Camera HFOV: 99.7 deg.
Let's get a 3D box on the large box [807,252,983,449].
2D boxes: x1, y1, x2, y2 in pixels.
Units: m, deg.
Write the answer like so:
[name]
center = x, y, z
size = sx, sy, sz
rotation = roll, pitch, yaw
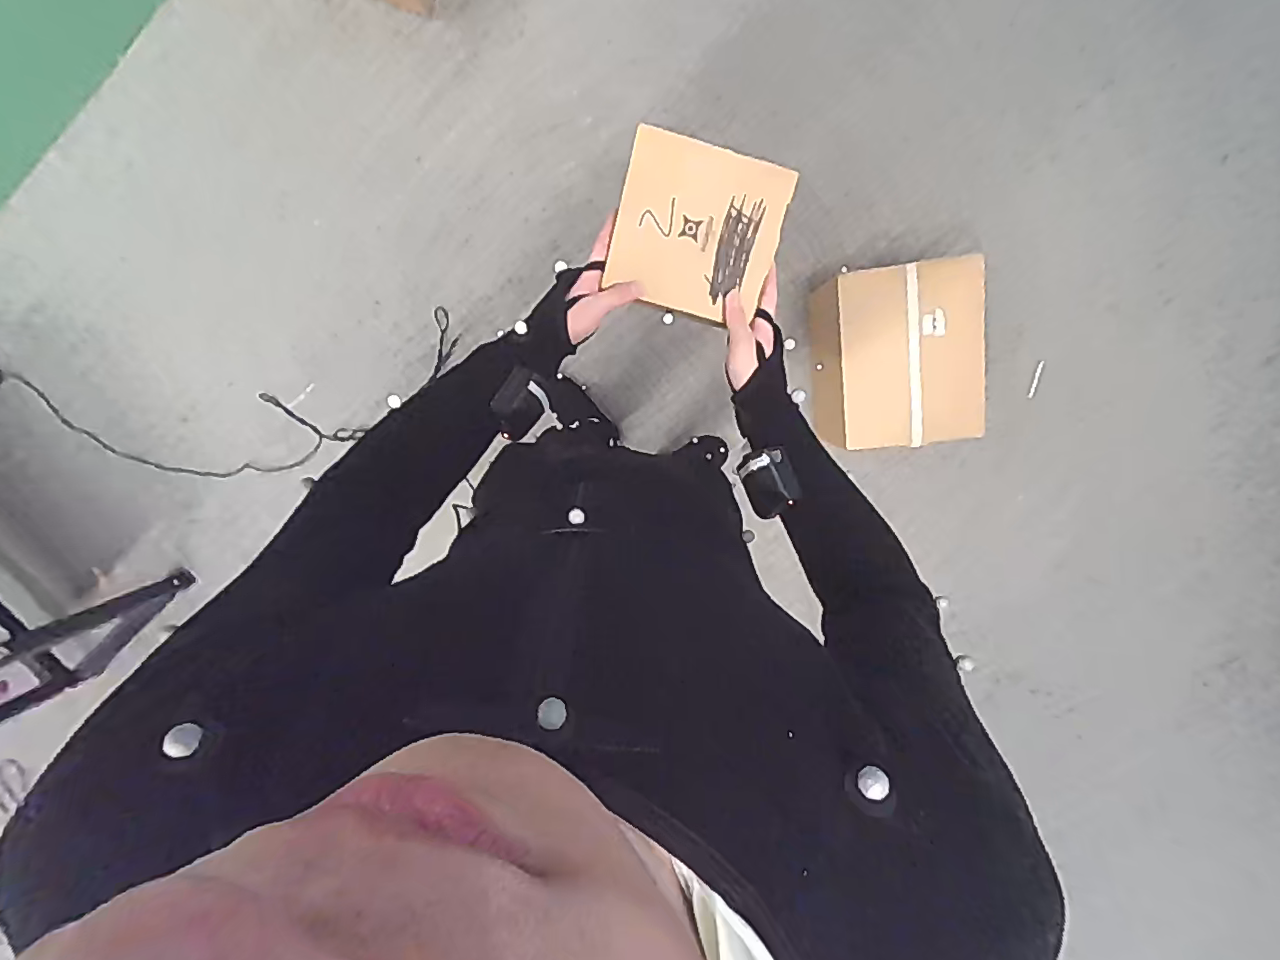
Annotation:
[large box]
center = 0.617, -0.308, 1.358
size = 0.320, 0.320, 0.408
rotation = -6, 100, 5
